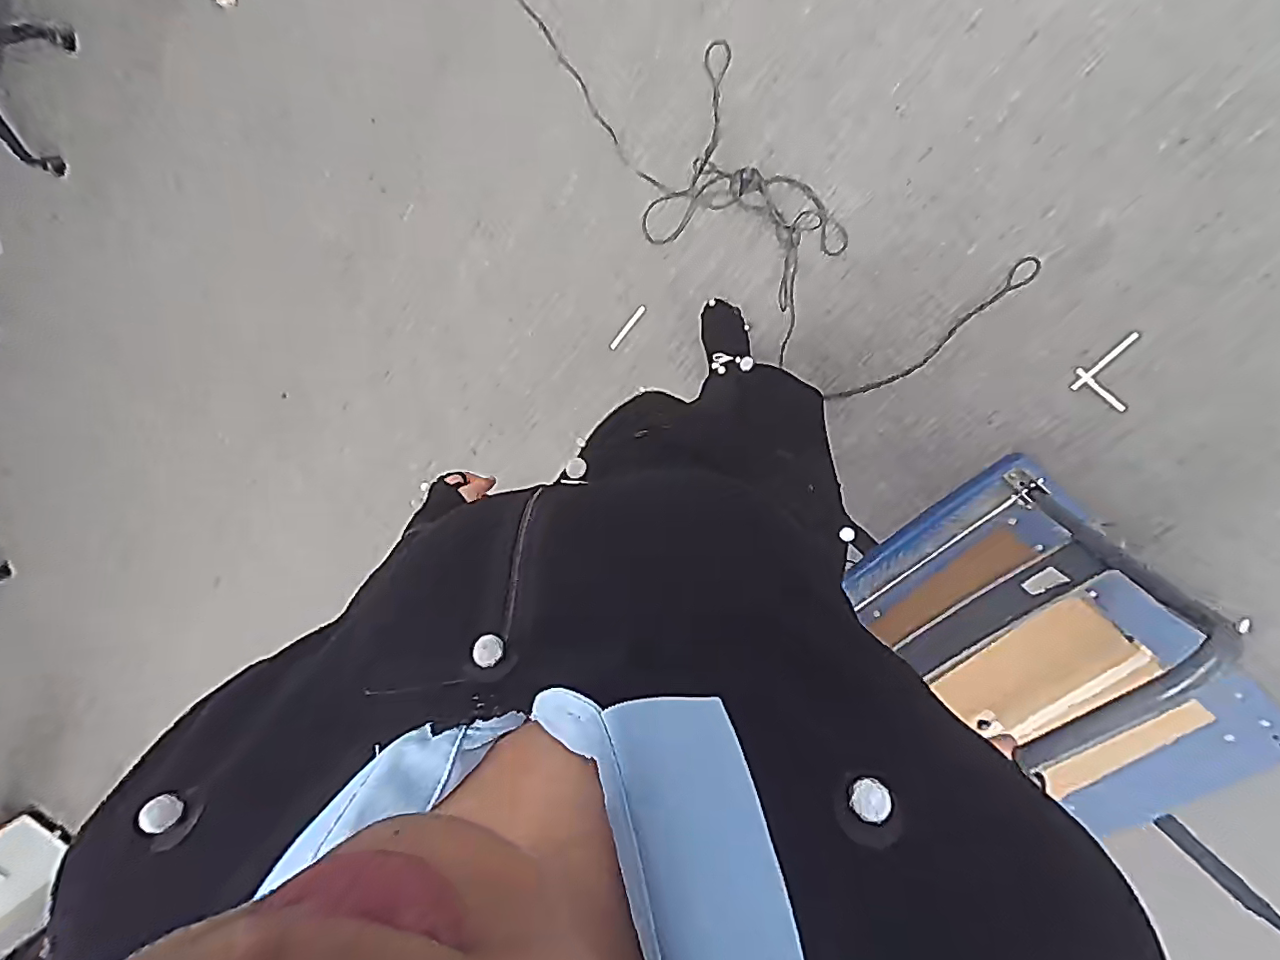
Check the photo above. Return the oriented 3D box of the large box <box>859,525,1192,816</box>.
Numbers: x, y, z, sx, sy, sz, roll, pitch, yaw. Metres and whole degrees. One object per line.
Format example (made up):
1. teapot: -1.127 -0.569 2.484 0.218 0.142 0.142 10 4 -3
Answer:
1. large box: 0.722 0.369 1.103 0.320 0.320 0.408 41 113 1
